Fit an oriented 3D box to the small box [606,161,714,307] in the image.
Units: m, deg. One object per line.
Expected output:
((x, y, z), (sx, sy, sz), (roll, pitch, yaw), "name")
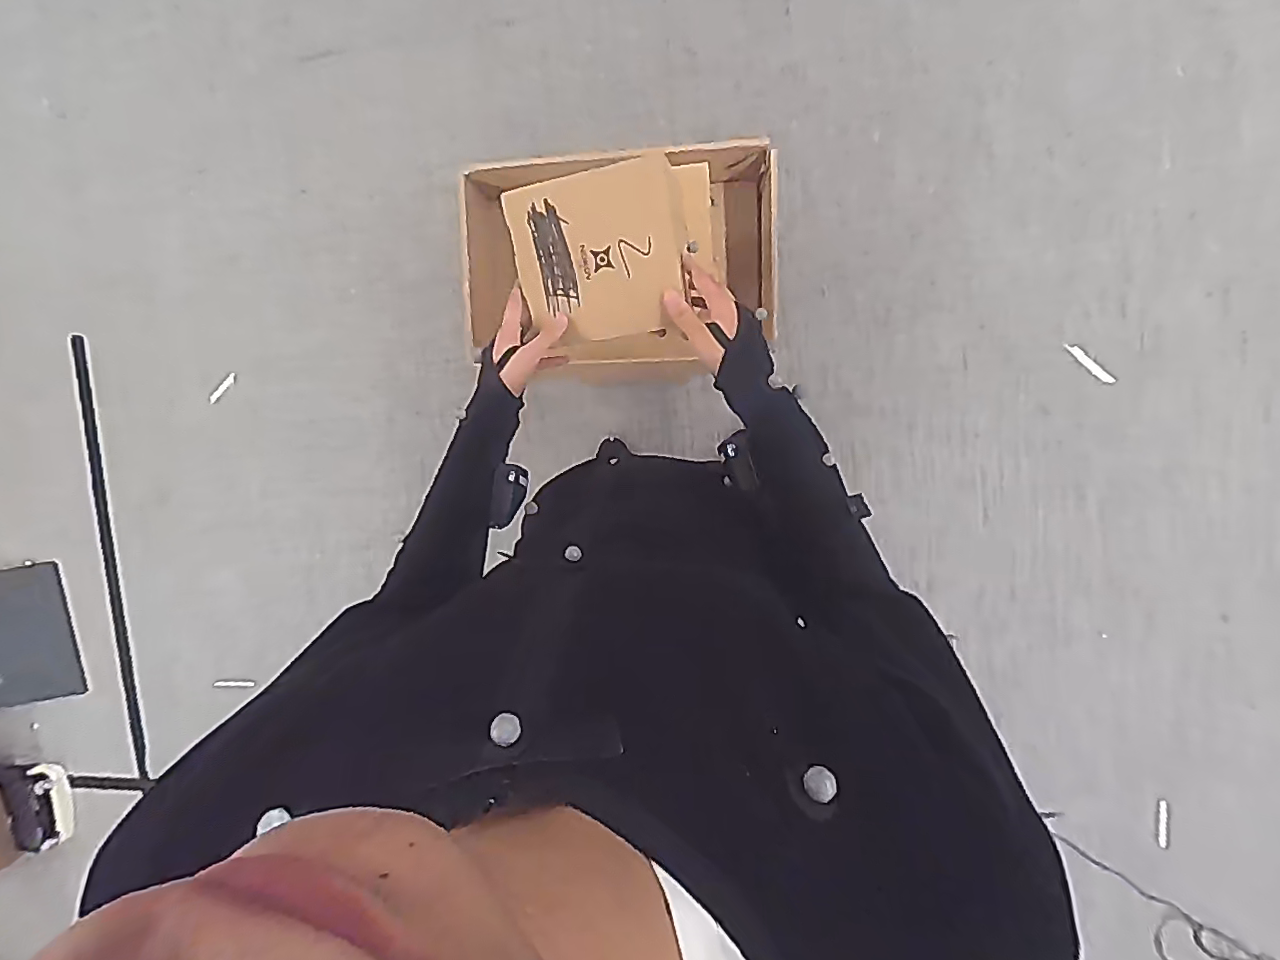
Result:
((0.040, -0.408, 0.924), (0.168, 0.176, 0.179), (-3, 96, 8), "small box")
